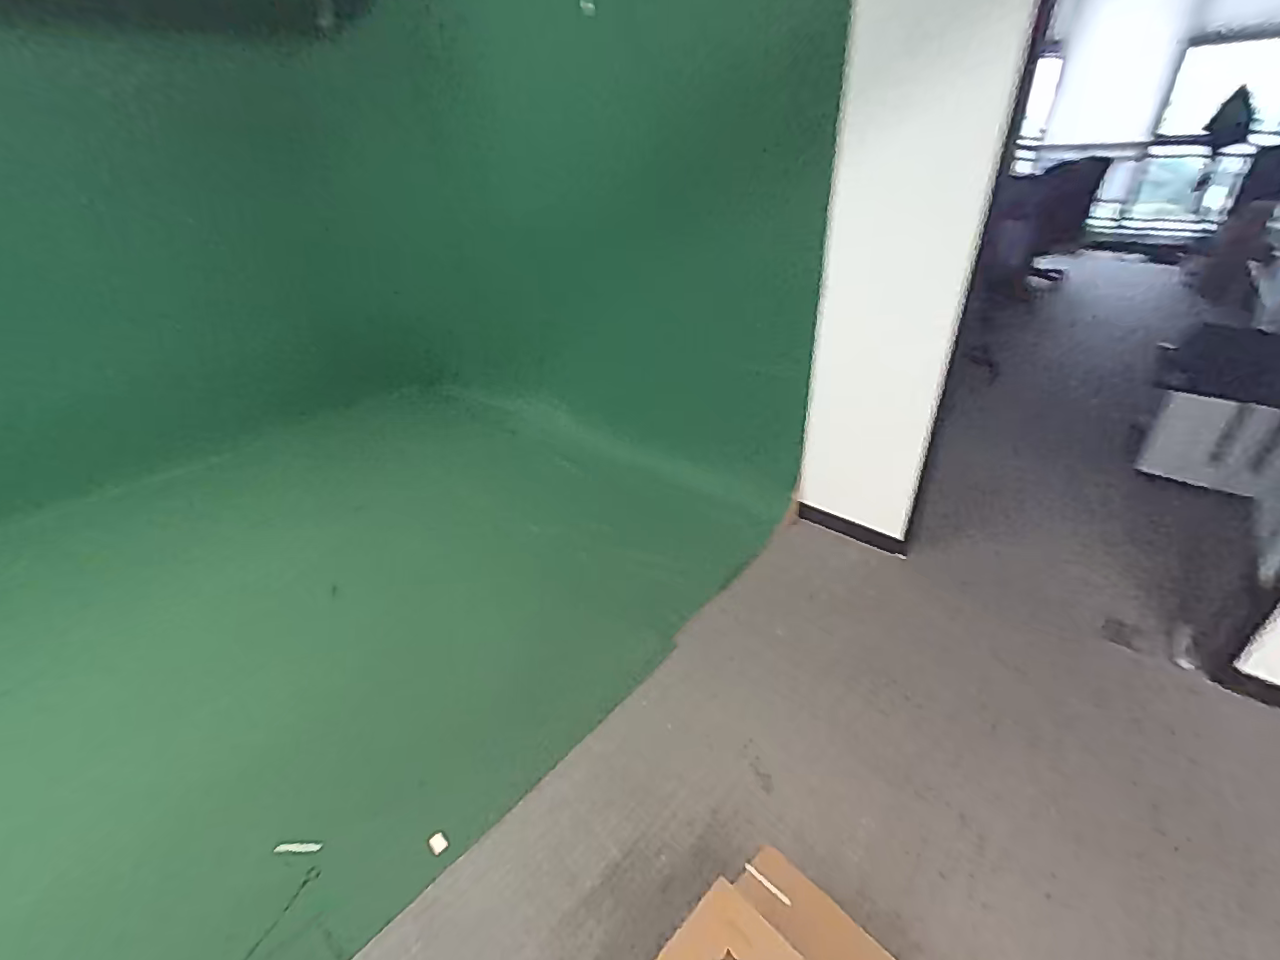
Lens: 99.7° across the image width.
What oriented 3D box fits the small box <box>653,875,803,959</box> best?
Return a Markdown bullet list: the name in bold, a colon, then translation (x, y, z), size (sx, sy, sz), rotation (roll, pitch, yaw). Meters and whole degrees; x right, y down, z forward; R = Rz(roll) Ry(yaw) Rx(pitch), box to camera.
- **small box**: translation (0.137, 0.802, 0.861), size (0.179, 0.176, 0.168), rotation (-27, 39, -35)
